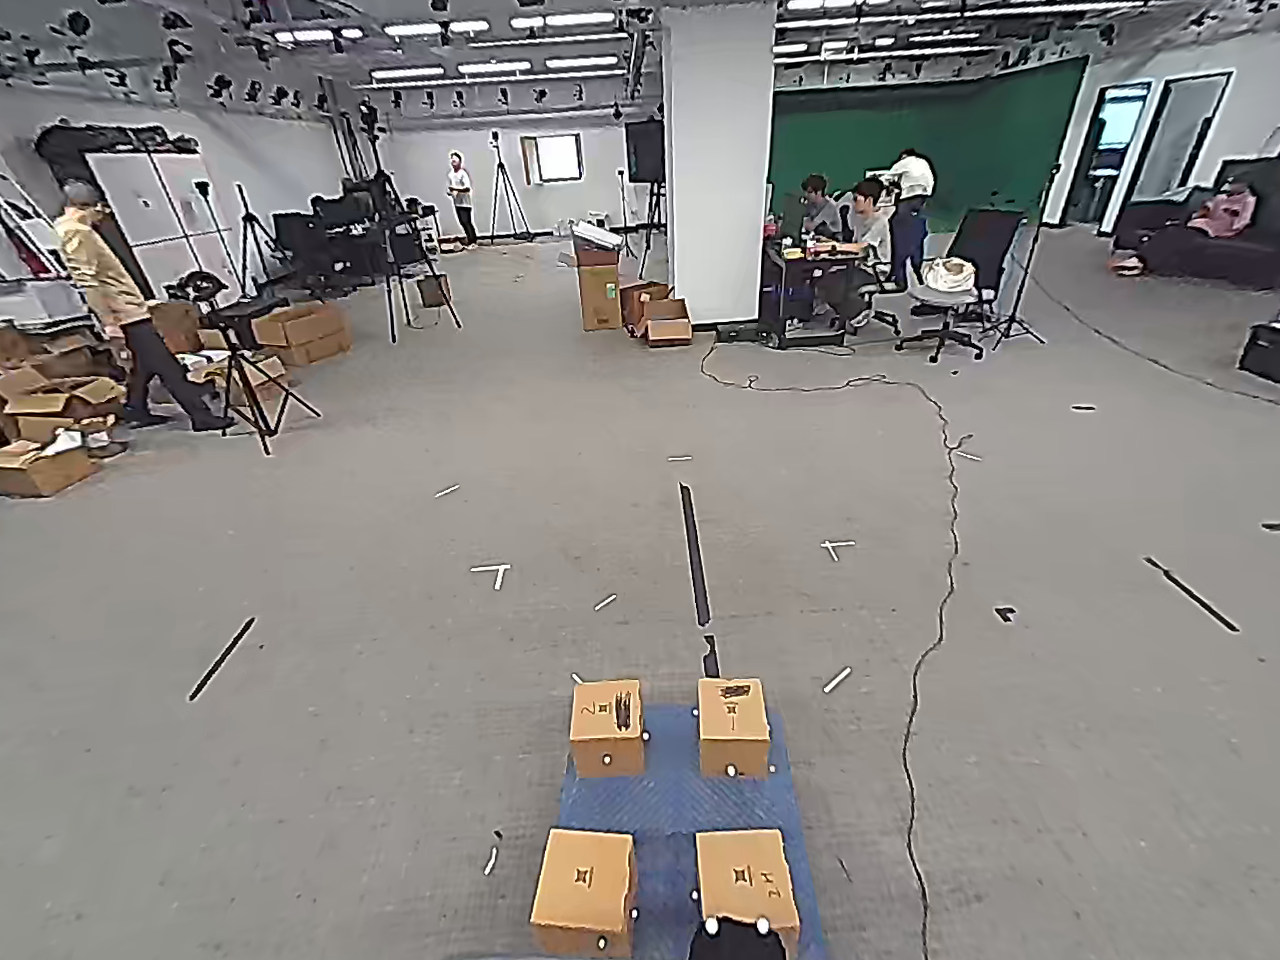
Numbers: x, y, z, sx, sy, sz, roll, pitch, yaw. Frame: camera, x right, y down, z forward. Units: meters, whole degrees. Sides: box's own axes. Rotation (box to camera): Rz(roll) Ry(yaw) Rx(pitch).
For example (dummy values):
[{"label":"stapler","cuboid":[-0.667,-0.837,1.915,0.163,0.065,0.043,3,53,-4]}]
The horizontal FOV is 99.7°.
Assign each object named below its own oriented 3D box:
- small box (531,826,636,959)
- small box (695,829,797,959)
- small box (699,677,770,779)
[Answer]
[{"label":"small box","cuboid":[-0.106,0.840,1.098,0.179,0.176,0.168,2,31,6]},{"label":"small box","cuboid":[0.204,0.829,1.078,0.179,0.176,0.168,-3,31,2]},{"label":"small box","cuboid":[0.236,0.637,1.396,0.168,0.176,0.179,-1,32,5]}]
